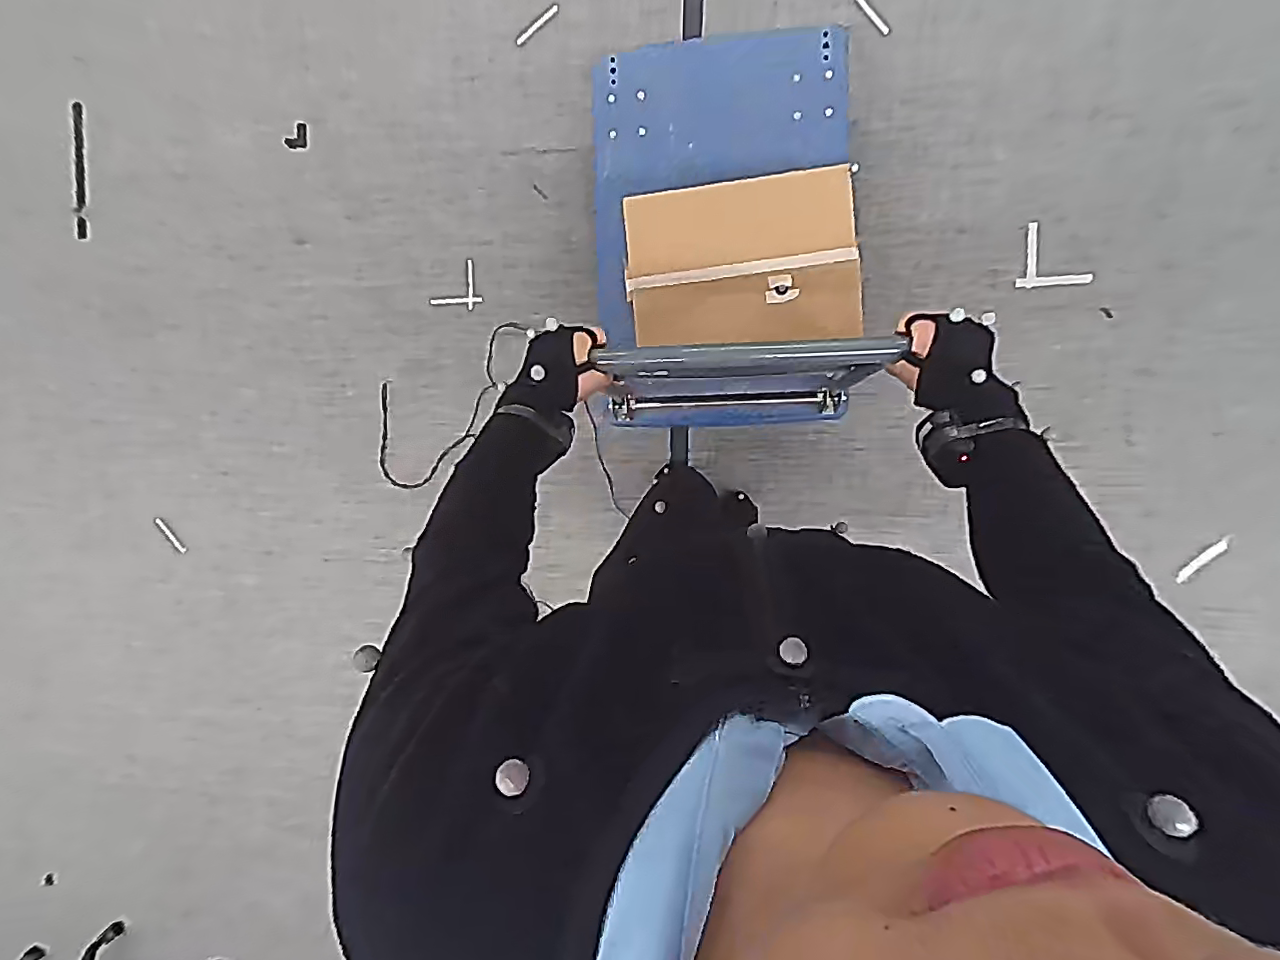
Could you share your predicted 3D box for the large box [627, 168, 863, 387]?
[{"bbox_3d":[0.201,-0.387,1.128,0.408,0.320,0.320,-6,94,6],"label":"large box"}]
